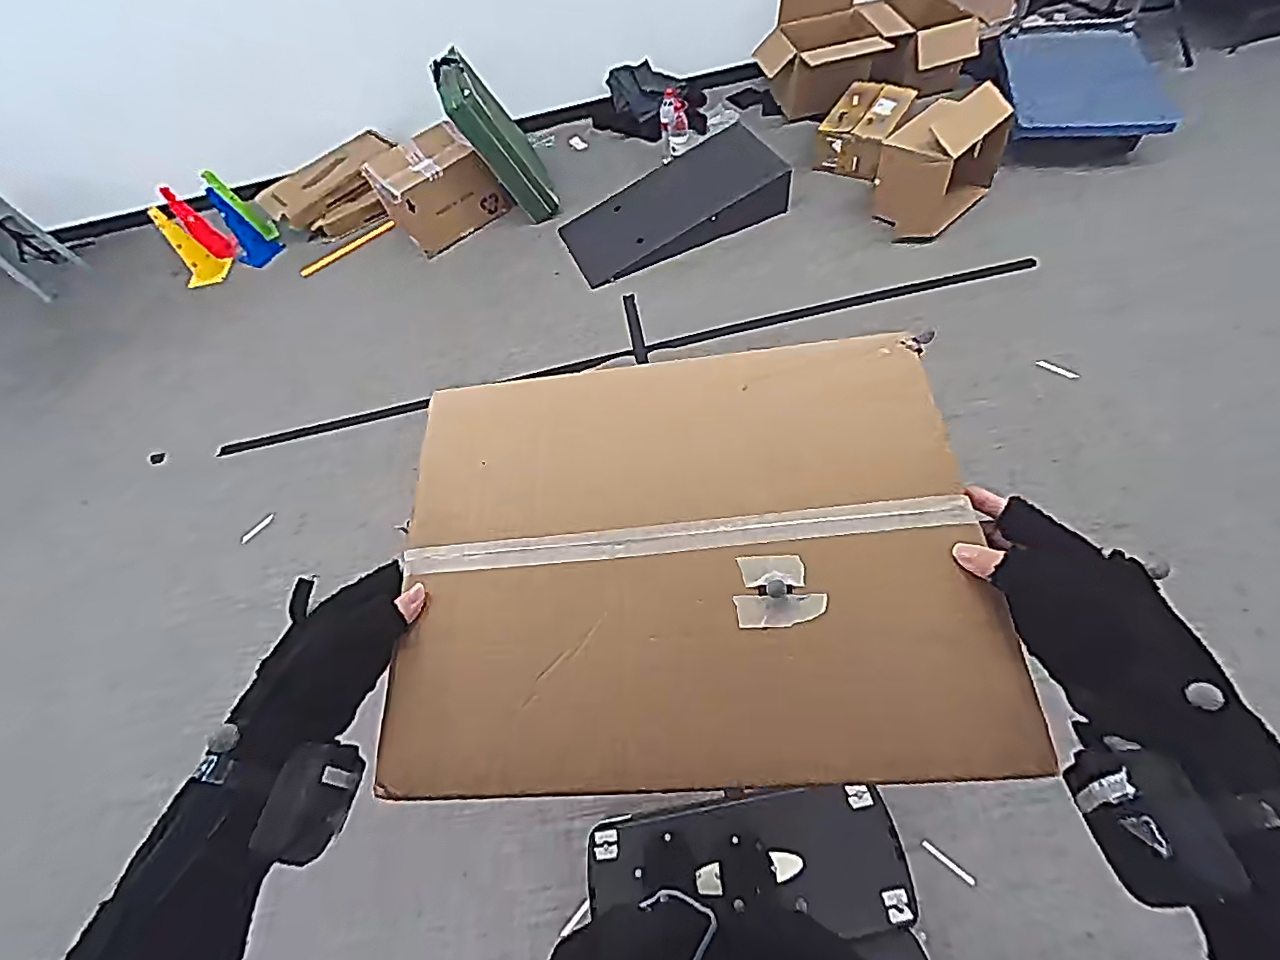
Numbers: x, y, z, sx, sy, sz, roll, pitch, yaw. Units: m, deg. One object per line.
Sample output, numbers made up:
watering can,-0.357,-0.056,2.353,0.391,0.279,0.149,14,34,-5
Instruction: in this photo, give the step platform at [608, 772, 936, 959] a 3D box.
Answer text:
step platform,0.271,0.861,1.209,0.684,0.204,0.286,-13,58,1

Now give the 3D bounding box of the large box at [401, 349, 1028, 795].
large box,0.048,0.113,0.535,0.408,0.320,0.320,-6,64,7
